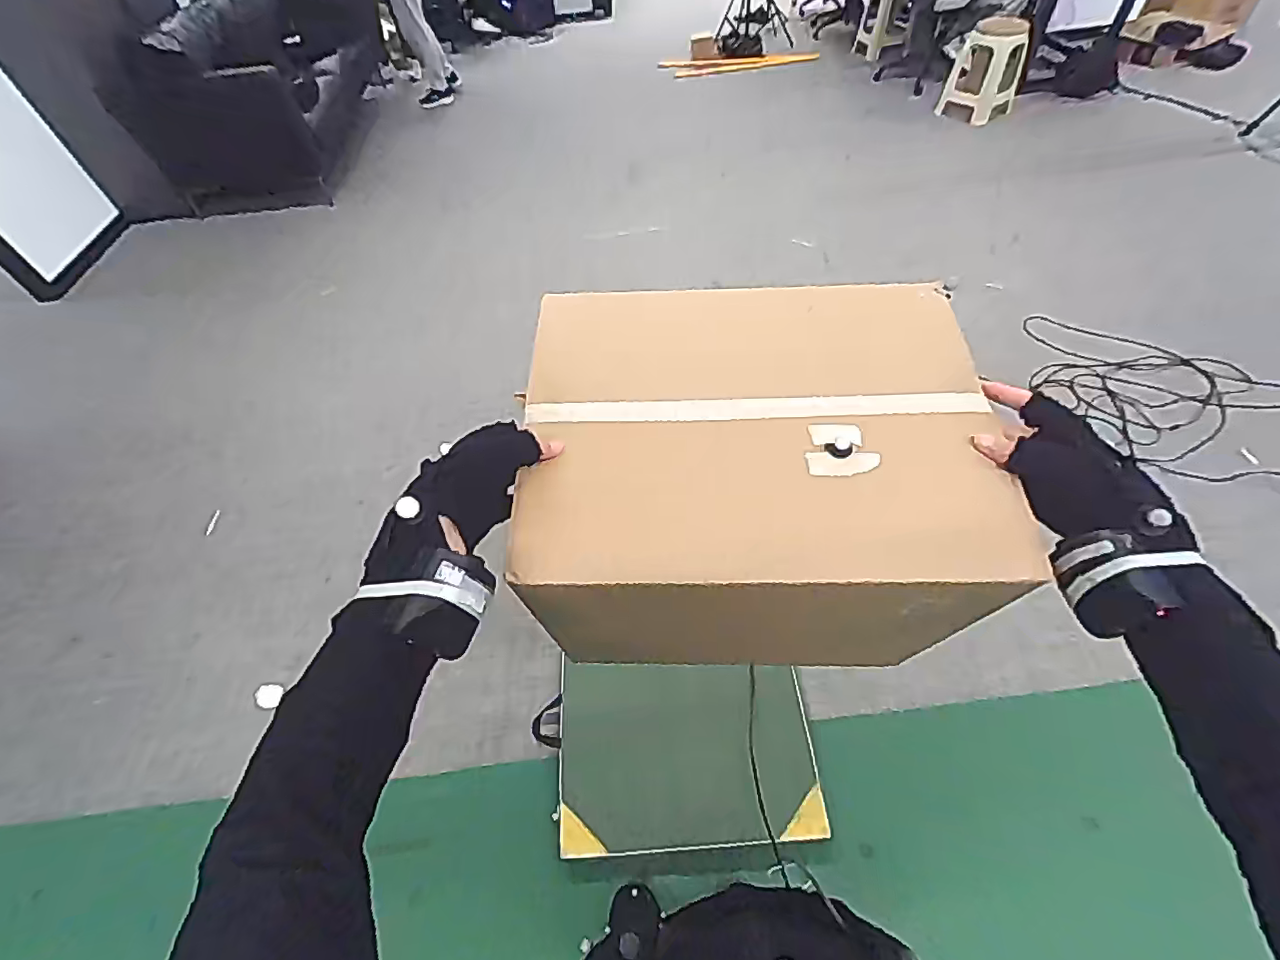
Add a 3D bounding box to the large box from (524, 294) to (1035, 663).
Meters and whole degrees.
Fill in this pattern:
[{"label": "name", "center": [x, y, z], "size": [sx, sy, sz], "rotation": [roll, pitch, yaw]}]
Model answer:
[{"label": "large box", "center": [0.108, 0.017, 0.618], "size": [0.408, 0.320, 0.320], "rotation": [-1, 61, 2]}]
